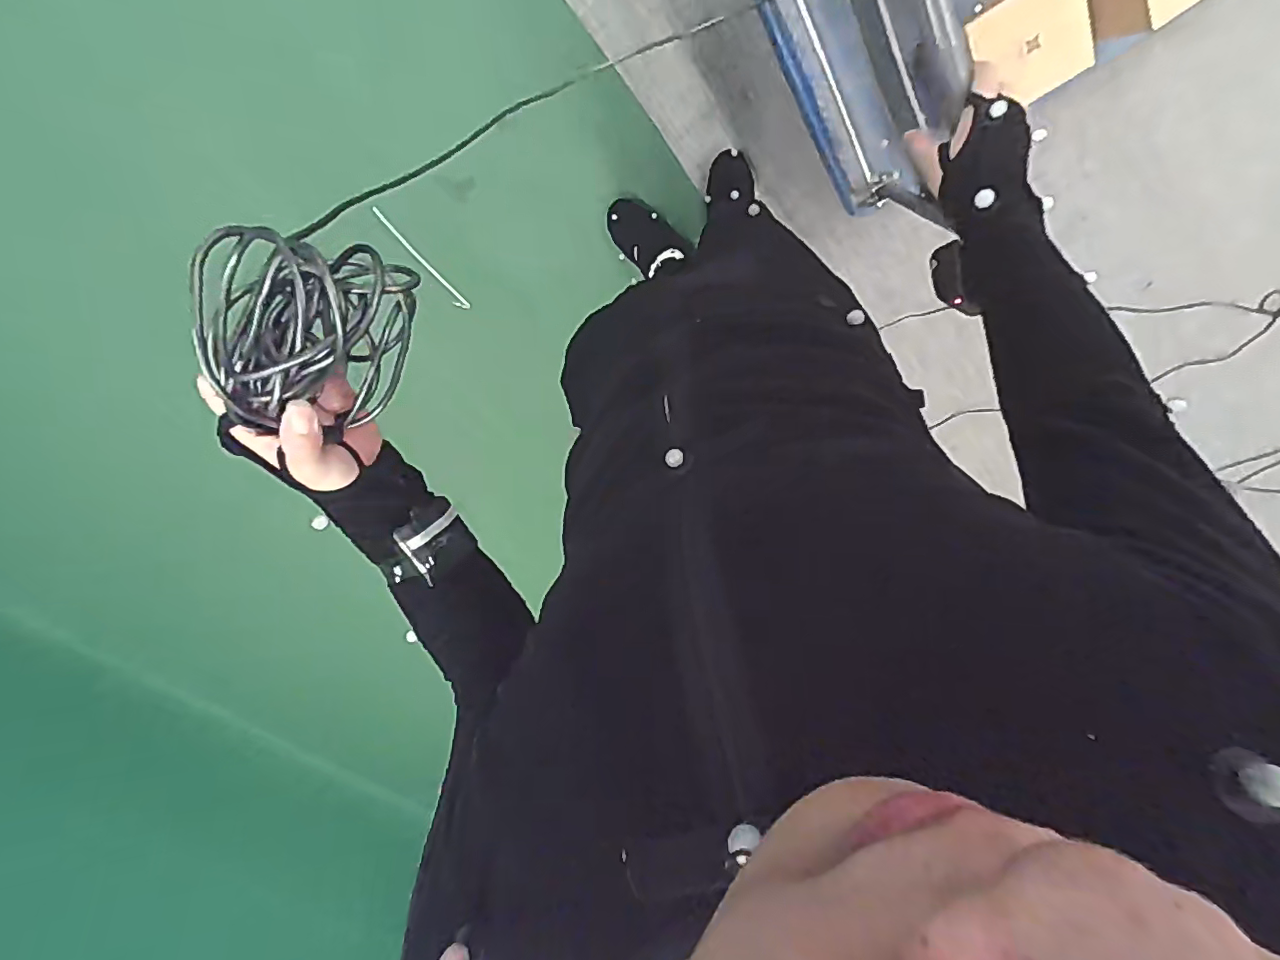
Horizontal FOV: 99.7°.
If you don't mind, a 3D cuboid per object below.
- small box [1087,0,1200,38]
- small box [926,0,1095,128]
[{"bbox_3d":[0.855,-0.866,0.874,0.179,0.176,0.168,-30,118,21],"label":"small box"},{"bbox_3d":[0.645,-0.760,0.955,0.179,0.176,0.168,-27,120,19],"label":"small box"}]
